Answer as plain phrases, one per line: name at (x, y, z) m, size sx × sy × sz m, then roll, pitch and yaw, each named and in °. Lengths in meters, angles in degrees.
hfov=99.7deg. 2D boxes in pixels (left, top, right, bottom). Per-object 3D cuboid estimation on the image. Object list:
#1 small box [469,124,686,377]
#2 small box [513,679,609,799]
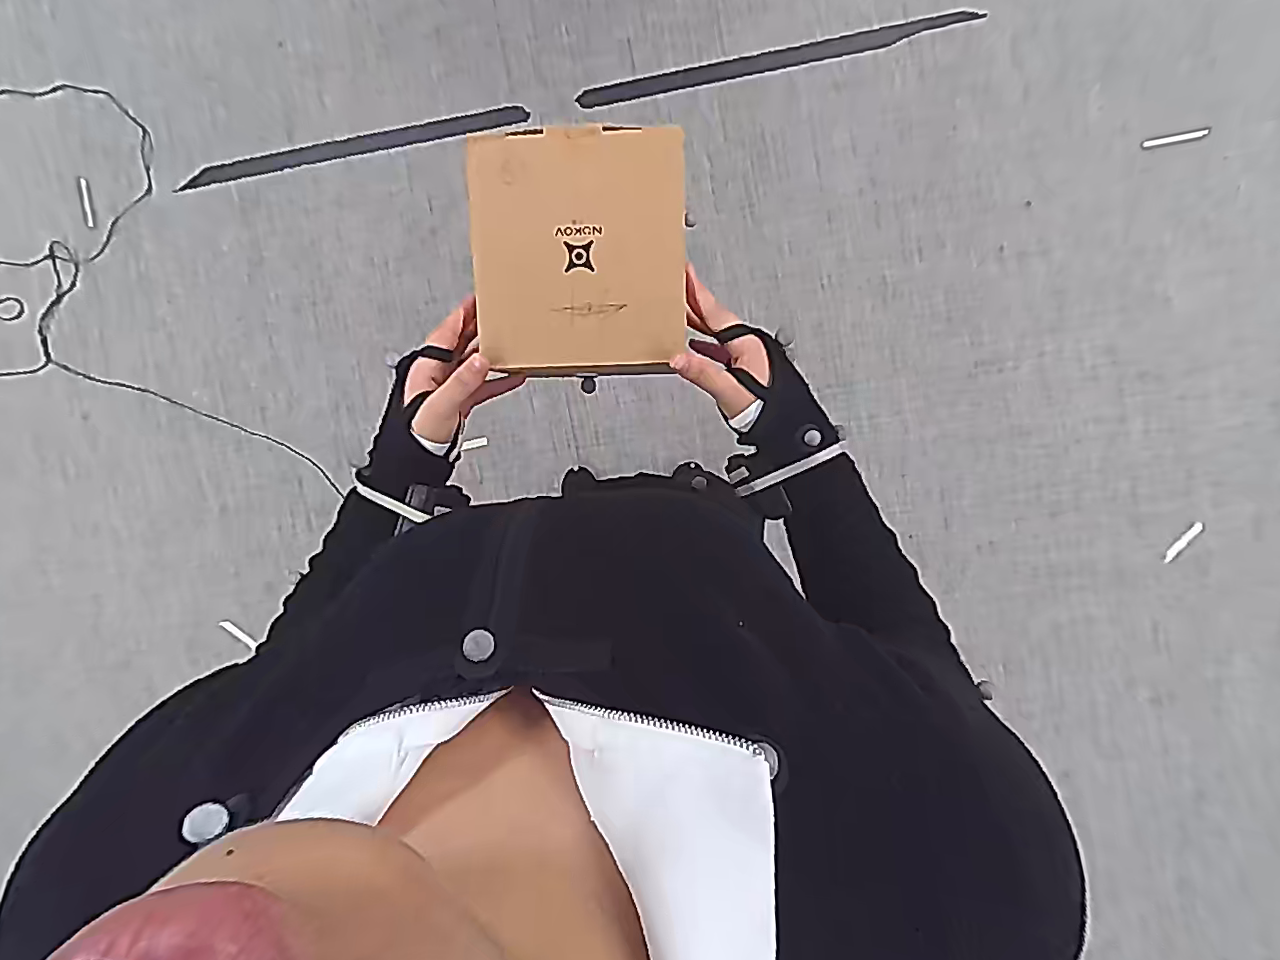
small box at (-0.045, -0.189, 0.494) m, size 0.168 × 0.176 × 0.179 m, roll -1°, pitch 98°, yaw 2°
small box at (-0.166, 0.559, 1.183) m, size 0.168 × 0.176 × 0.179 m, roll -7°, pitch 93°, yaw 4°
